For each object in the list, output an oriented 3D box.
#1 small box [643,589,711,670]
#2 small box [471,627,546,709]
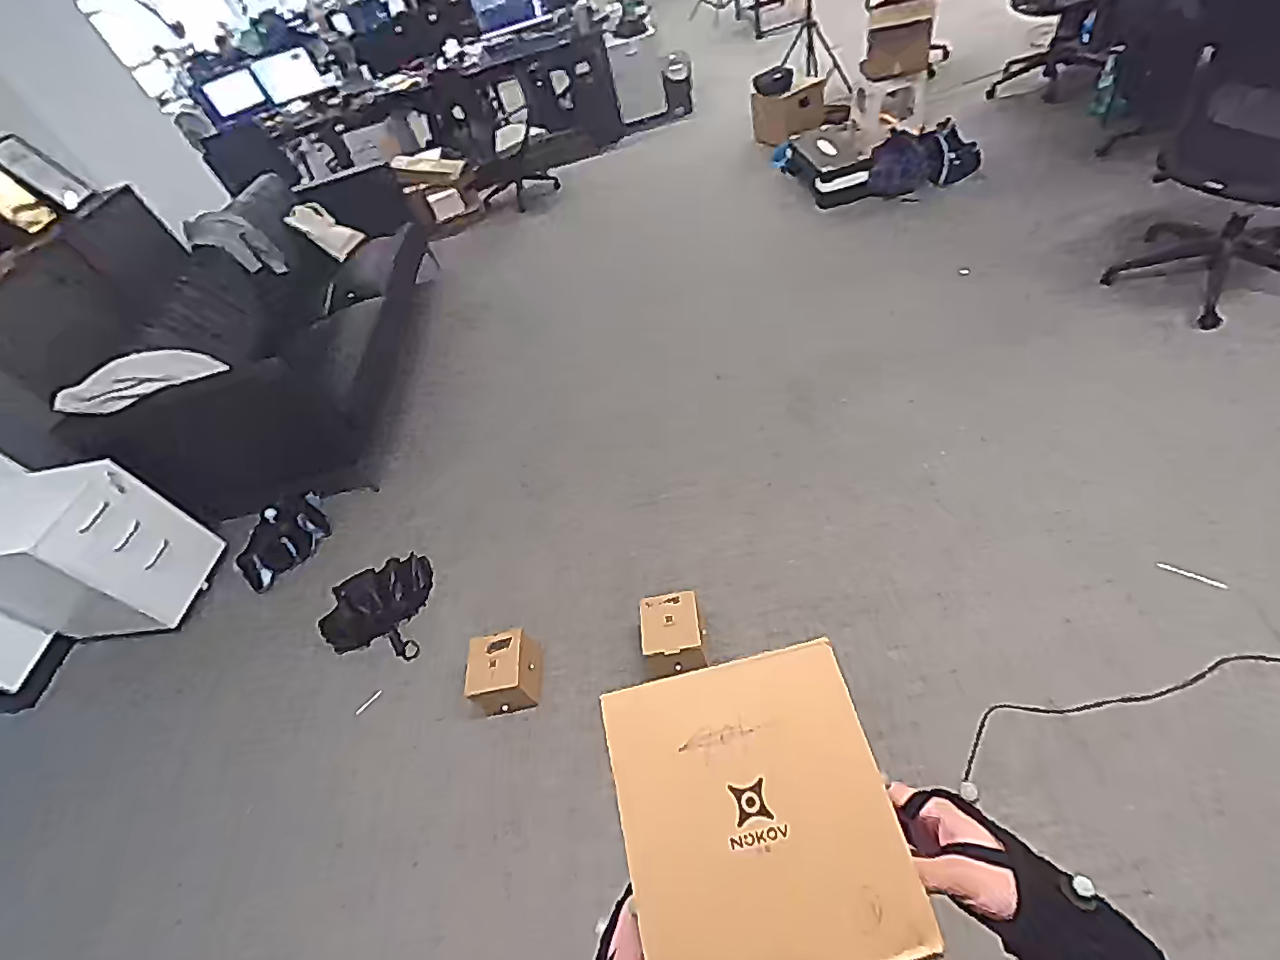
[{"bbox_3d":[0.110,0.449,1.597,0.168,0.176,0.179,-11,49,9],"label":"small box"},{"bbox_3d":[-0.395,0.577,1.654,0.168,0.176,0.179,-14,49,7],"label":"small box"}]
